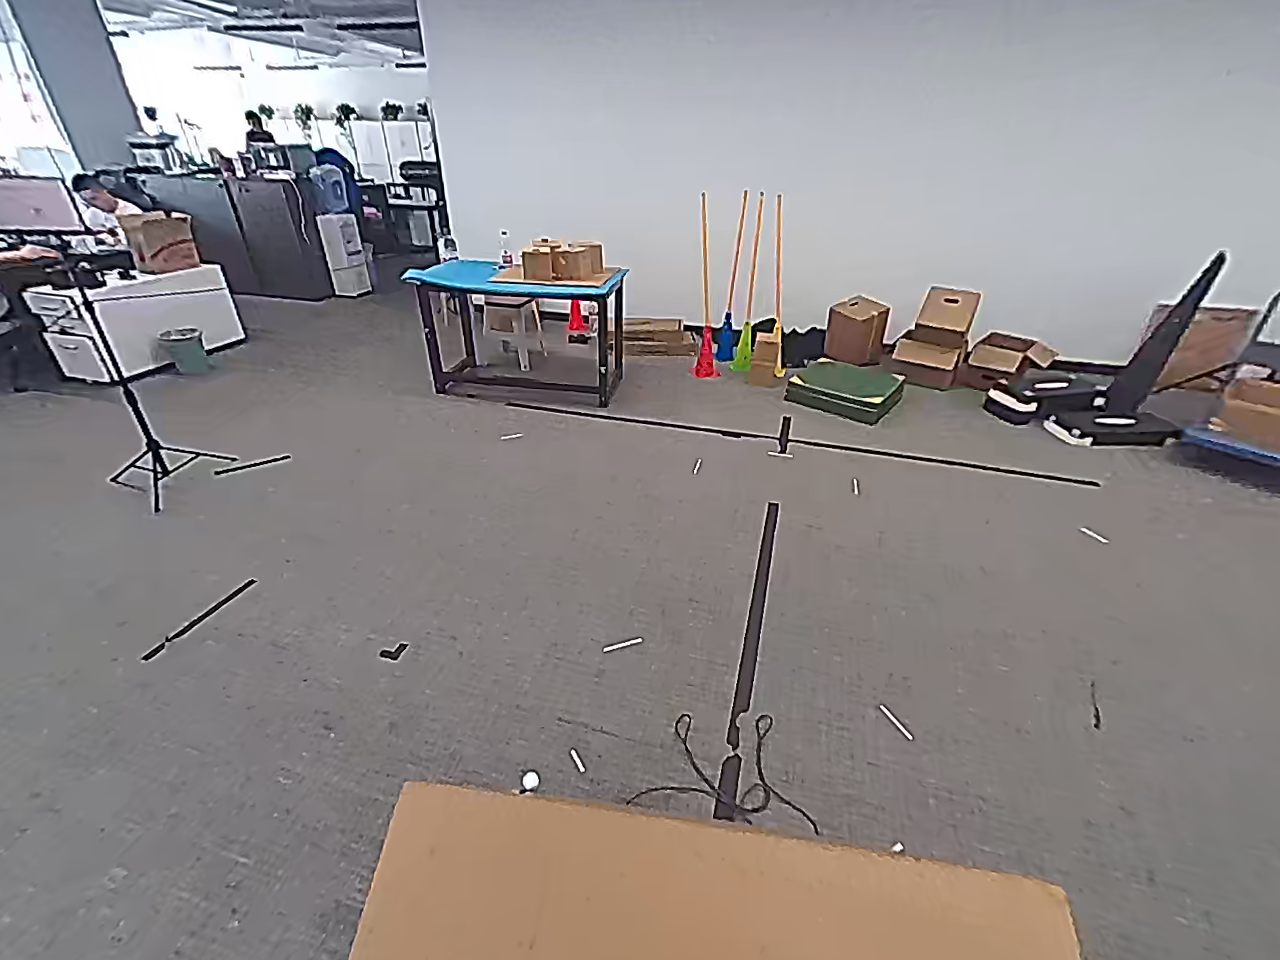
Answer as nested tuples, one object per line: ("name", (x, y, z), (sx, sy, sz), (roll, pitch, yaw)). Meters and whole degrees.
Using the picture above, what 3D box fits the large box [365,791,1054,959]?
("large box", (0.036, 0.432, 0.394), (0.408, 0.320, 0.320), (2, 60, 11))
